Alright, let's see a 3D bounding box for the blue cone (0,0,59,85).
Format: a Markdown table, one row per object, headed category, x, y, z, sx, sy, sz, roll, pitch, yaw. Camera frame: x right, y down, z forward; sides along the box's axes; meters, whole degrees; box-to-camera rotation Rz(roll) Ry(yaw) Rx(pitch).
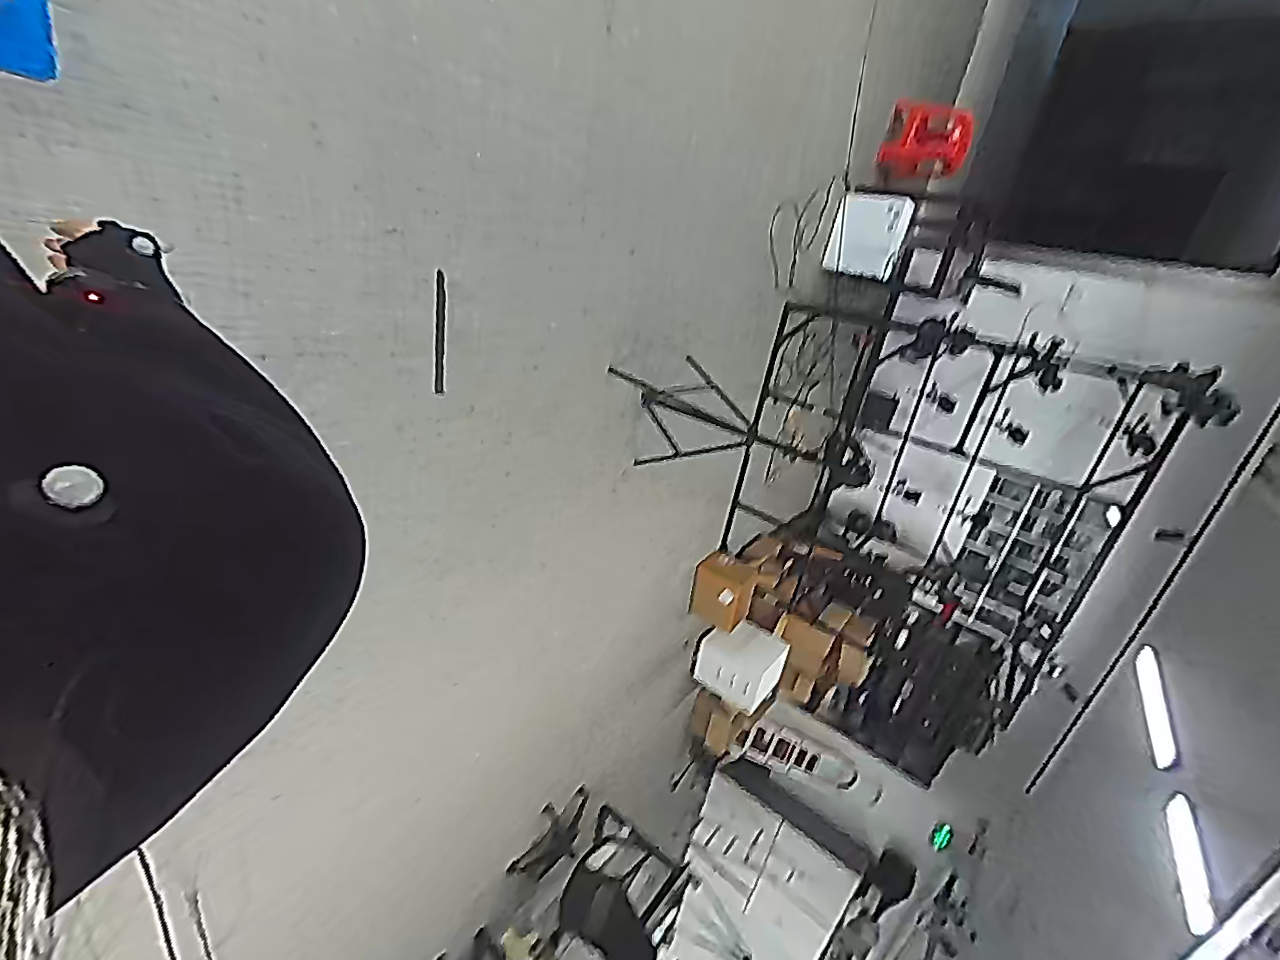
| category | x | y | z | sx | sy | sz | roll | pitch | yaw |
| --- | --- | --- | --- | --- | --- | --- | --- | --- | --- |
| blue cone | -0.867 | -0.651 | 0.703 | 0.193 | 0.380 | 0.192 | -13 | 122 | -52 |
